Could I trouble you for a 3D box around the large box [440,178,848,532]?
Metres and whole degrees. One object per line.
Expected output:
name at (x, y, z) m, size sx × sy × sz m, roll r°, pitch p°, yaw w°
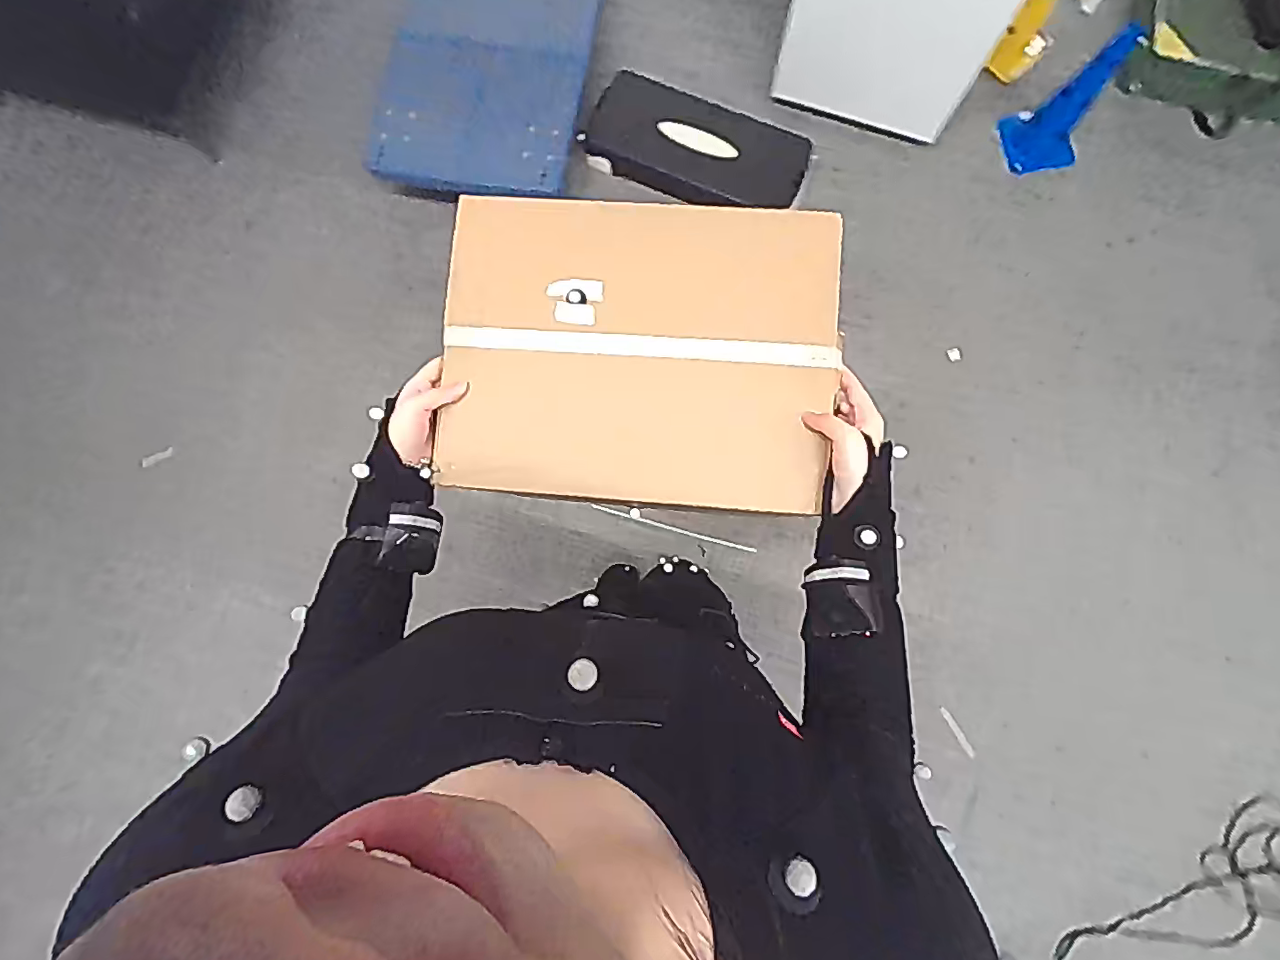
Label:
large box at (0.012, -0.157, 0.724) m, size 0.408 × 0.320 × 0.320 m, roll 15°, pitch 101°, yaw 8°
